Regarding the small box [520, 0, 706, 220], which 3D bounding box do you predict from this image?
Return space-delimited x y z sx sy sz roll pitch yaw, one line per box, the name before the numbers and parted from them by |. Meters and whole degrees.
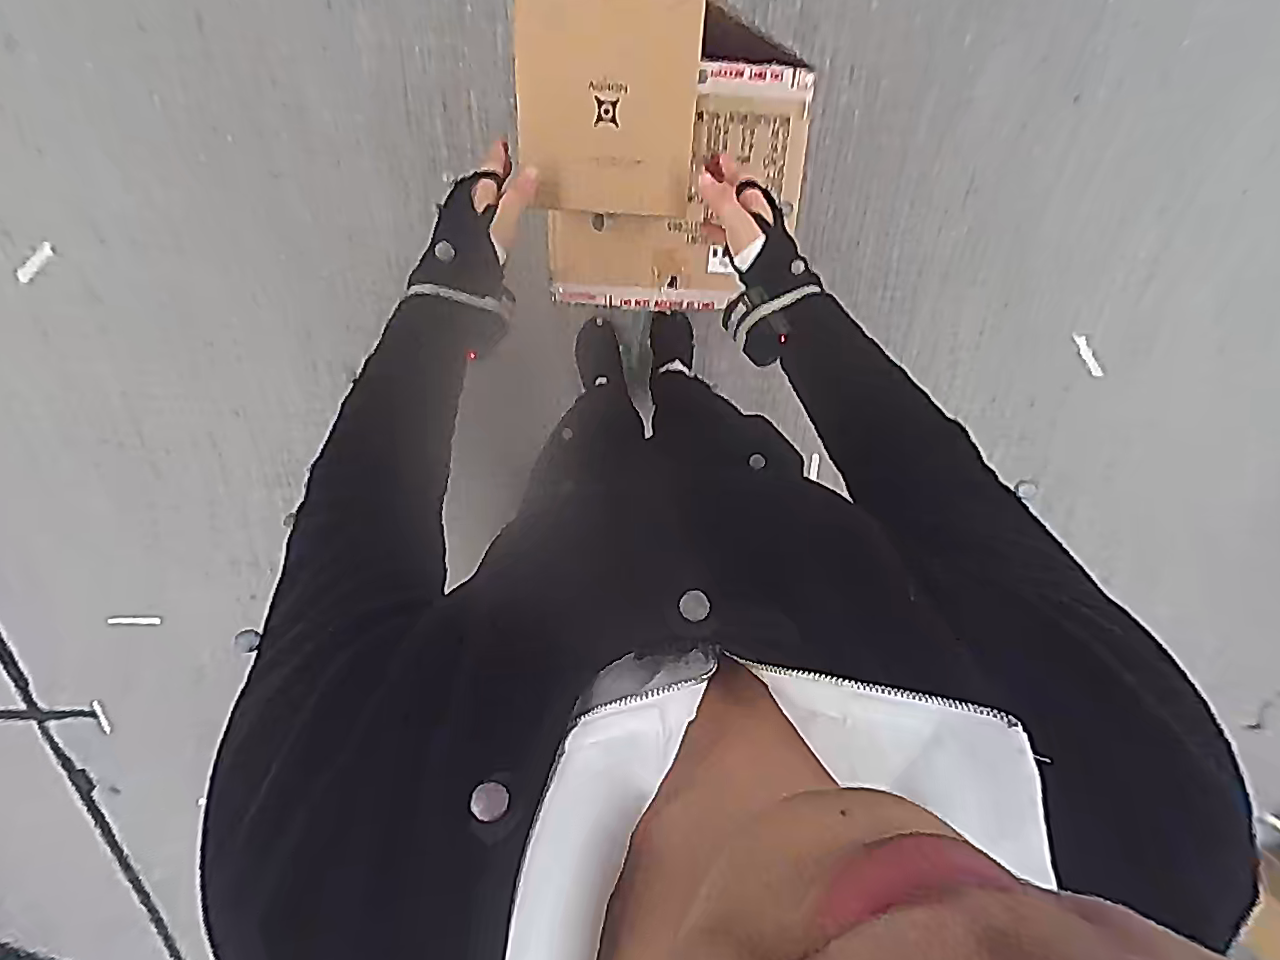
small box | -0.030 -0.378 0.572 0.168 0.176 0.179 3 116 -2
